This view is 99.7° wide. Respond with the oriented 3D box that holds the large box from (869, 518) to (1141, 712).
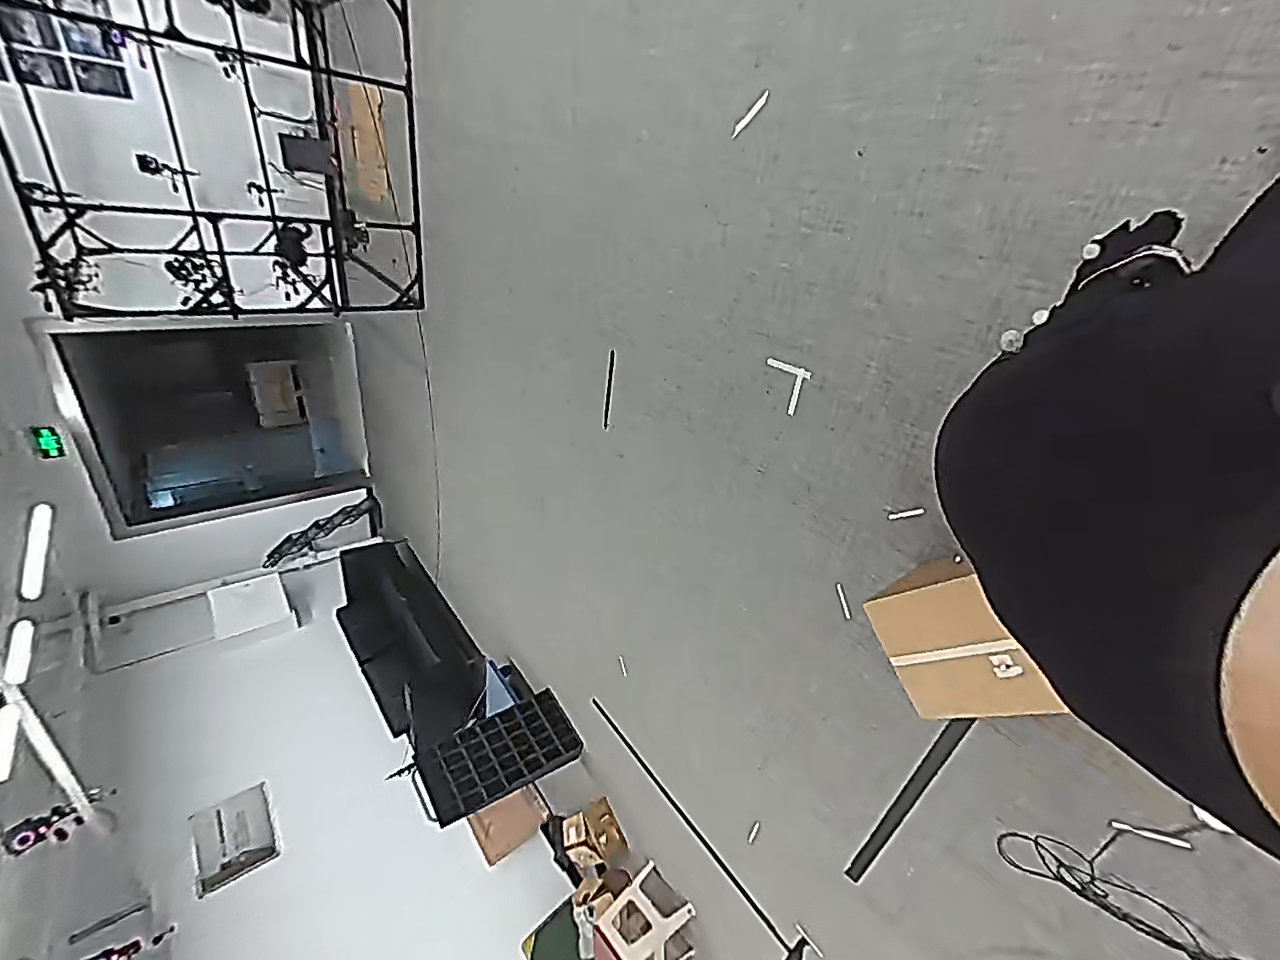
[{"bbox_3d":[0.860,0.328,1.307,0.408,0.320,0.320,-39,73,50],"label":"large box"}]
